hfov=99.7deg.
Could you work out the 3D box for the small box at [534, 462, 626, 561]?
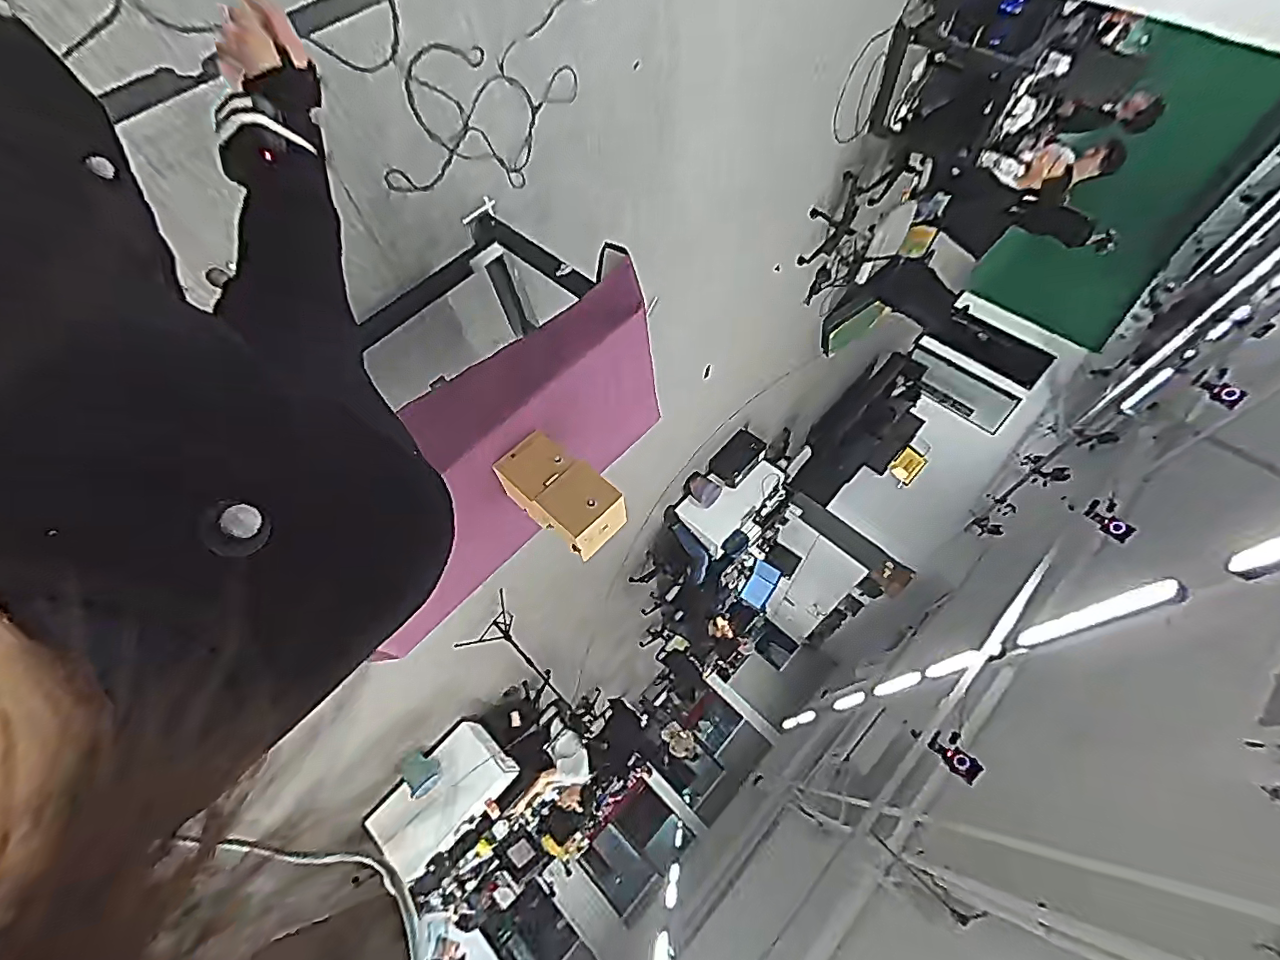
[{"bbox_3d":[-0.160,0.082,1.481,0.179,0.176,0.168,-43,157,-20],"label":"small box"}]
